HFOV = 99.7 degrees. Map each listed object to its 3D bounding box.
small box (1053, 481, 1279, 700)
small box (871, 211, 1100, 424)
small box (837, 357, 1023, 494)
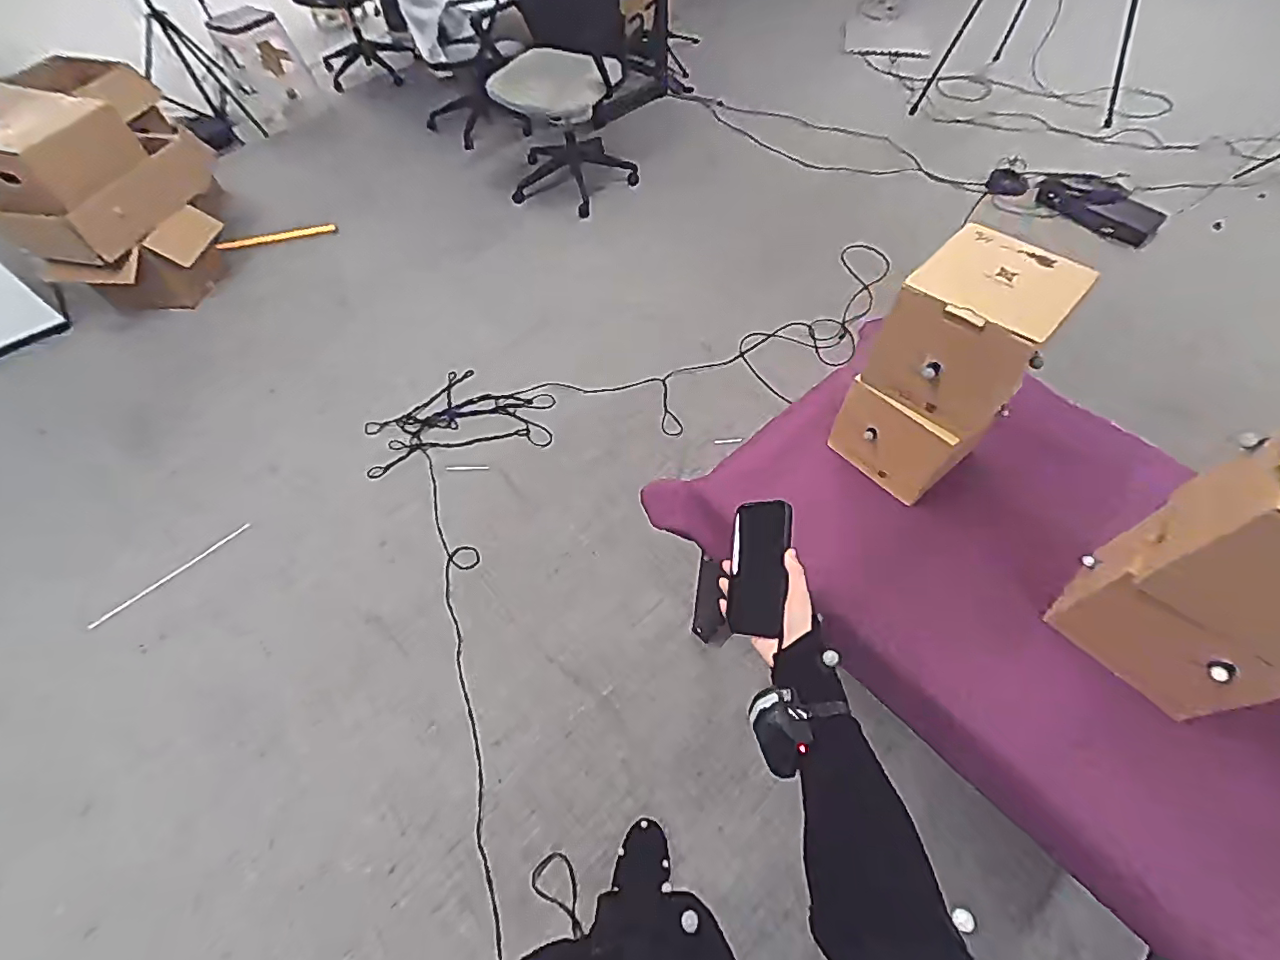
[{"bbox_3d":[0.667,0.142,0.655,0.168,0.176,0.179,-36,62,-20],"label":"small box"},{"bbox_3d":[0.428,-0.206,0.704,0.168,0.176,0.179,39,67,24],"label":"small box"},{"bbox_3d":[0.430,-0.110,0.837,0.179,0.176,0.168,-36,61,-19],"label":"small box"}]
